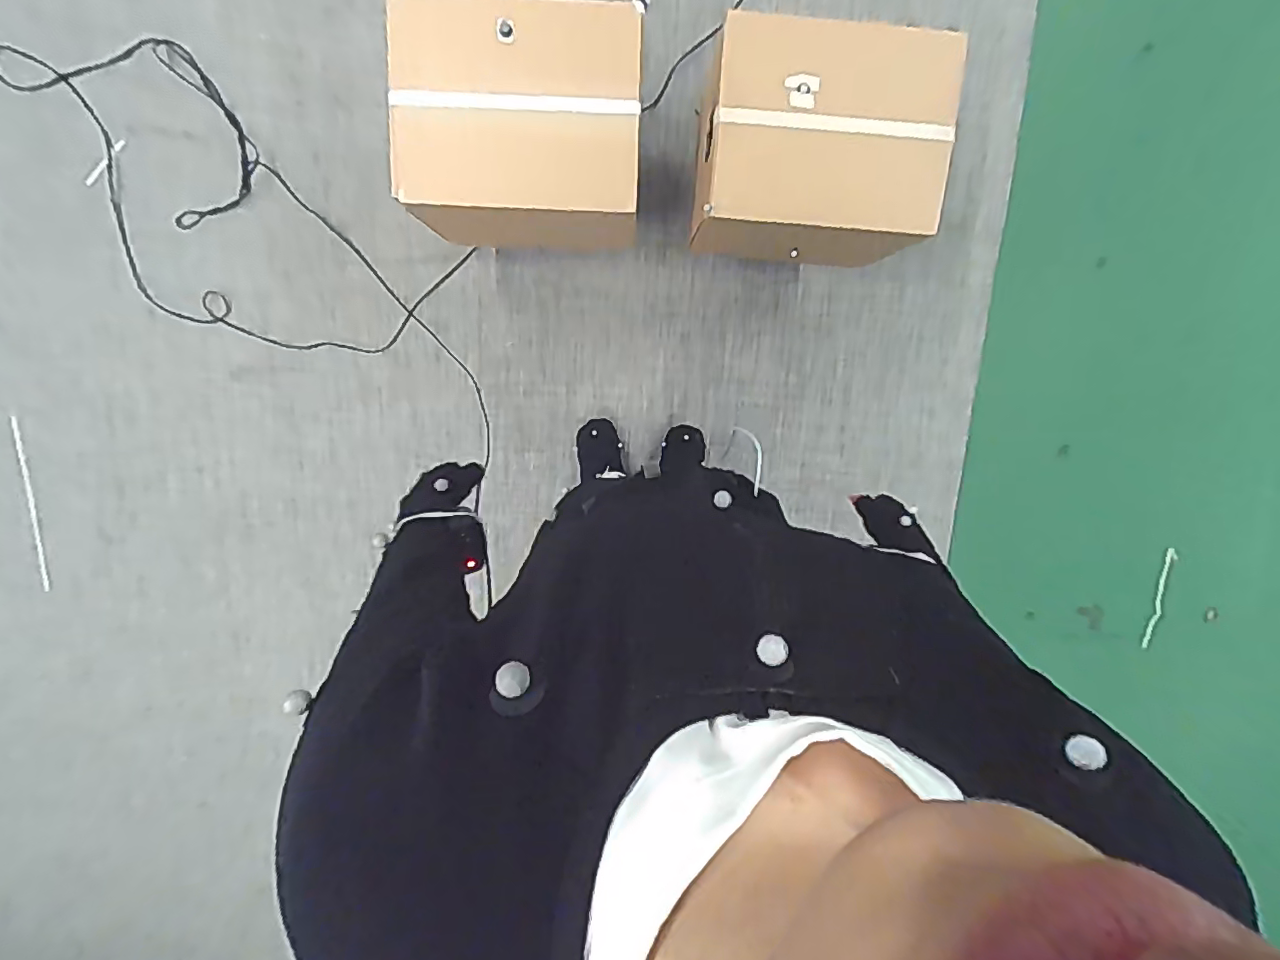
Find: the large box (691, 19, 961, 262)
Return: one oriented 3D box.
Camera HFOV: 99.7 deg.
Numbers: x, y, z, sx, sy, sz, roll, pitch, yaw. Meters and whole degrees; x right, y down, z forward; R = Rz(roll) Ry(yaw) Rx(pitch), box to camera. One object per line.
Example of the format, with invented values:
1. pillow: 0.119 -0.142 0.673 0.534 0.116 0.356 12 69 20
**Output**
1. large box: 0.327 -0.626 1.064 0.408 0.320 0.320 4 101 -2
